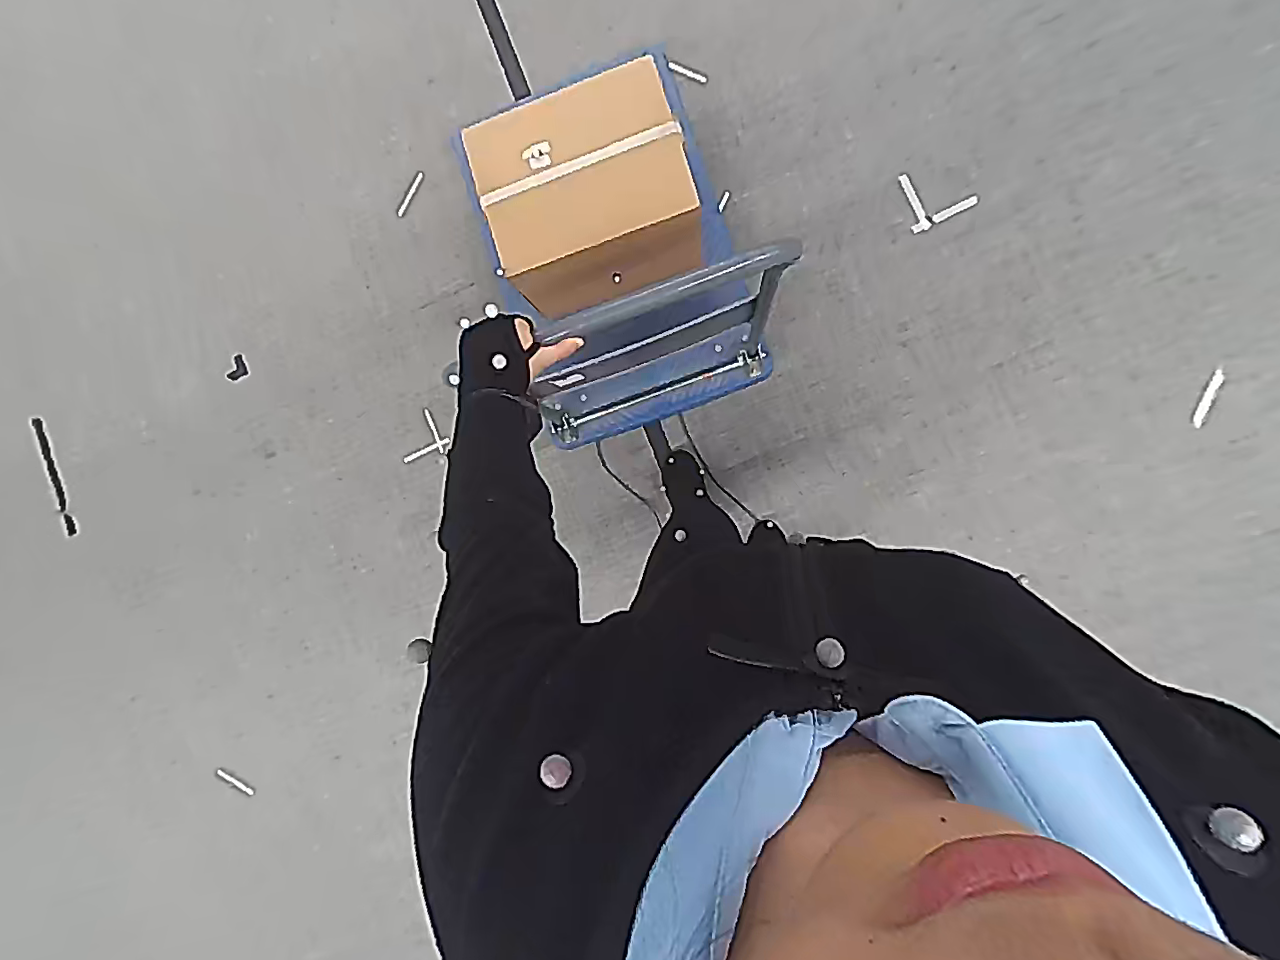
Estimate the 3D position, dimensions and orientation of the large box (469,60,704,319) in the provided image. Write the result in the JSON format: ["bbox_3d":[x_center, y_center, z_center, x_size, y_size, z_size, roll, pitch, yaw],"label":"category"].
[{"bbox_3d":[-0.096,-0.608,1.208,0.408,0.320,0.320,-18,87,8],"label":"large box"}]
